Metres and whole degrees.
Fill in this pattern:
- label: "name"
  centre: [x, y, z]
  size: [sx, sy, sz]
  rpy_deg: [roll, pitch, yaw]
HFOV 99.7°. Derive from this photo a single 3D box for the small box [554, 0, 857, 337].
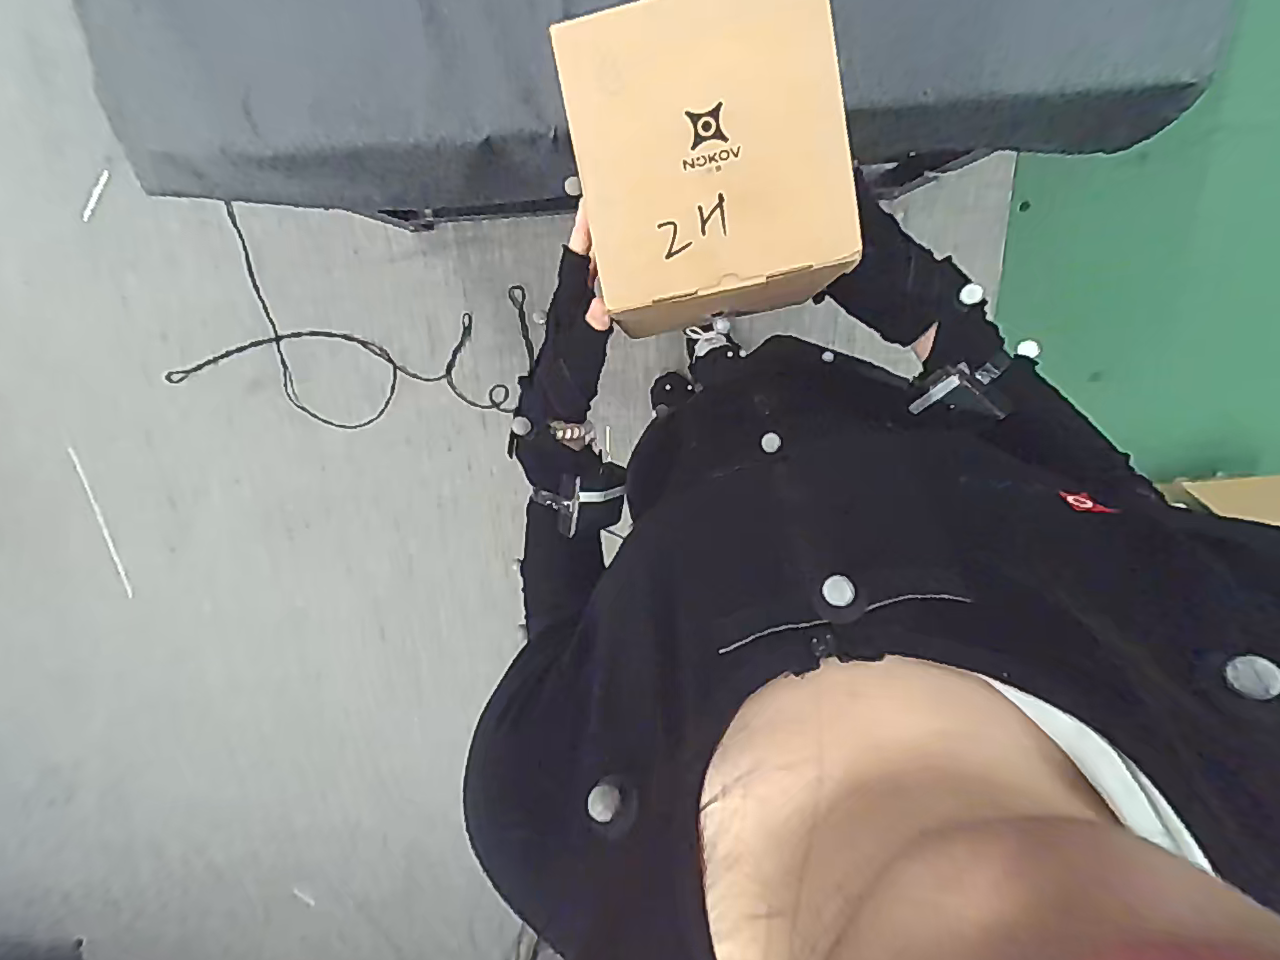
- label: "small box"
  centre: [0.047, -0.219, 0.410]
  size: [0.168, 0.176, 0.179]
  rpy_deg: [-10, 98, 7]
